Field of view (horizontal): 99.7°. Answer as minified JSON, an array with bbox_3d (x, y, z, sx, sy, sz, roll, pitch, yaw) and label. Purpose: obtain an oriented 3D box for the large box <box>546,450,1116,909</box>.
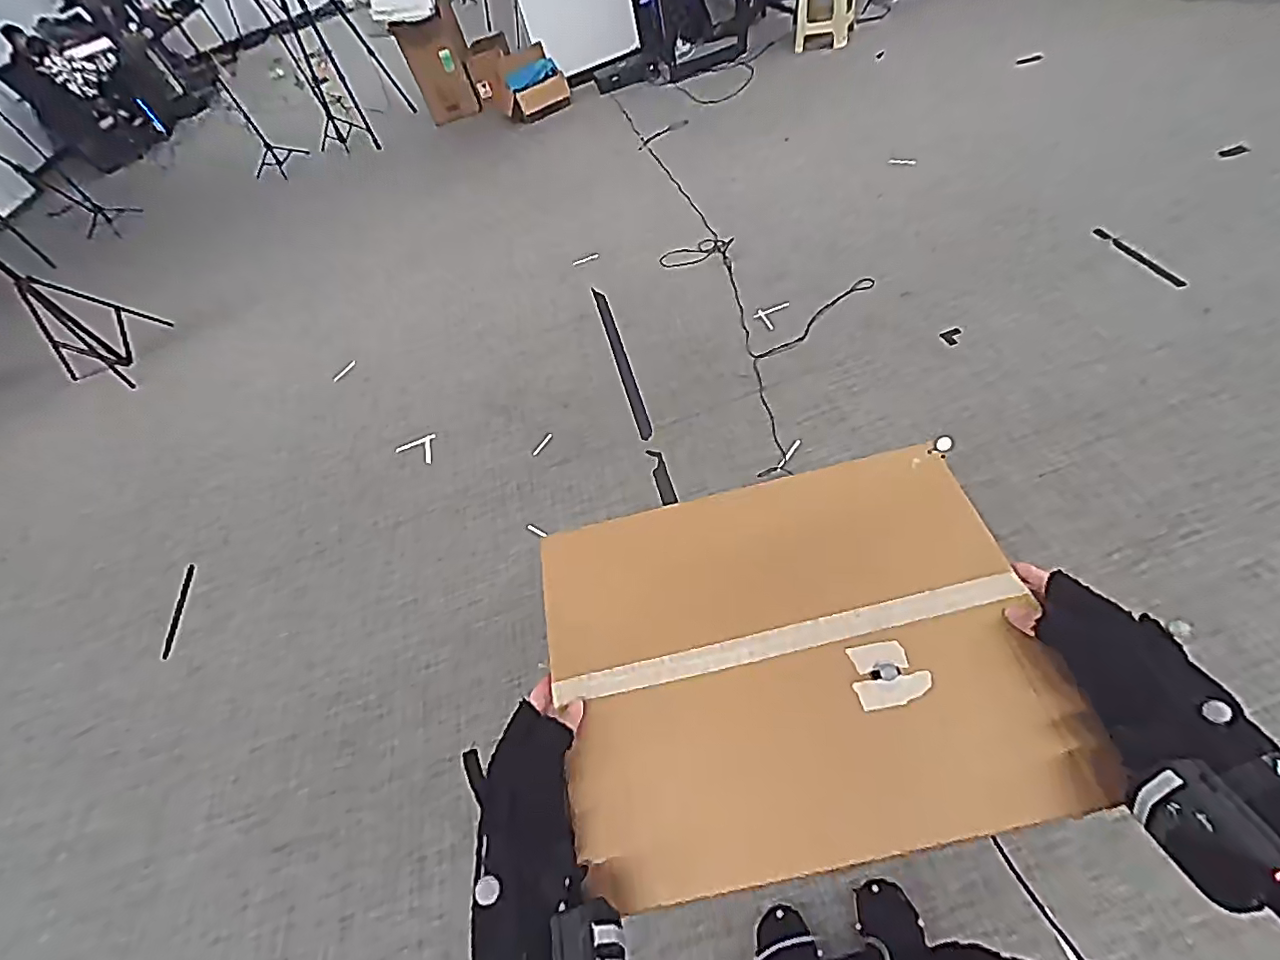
[{"bbox_3d":[0.144,0.221,0.595,0.408,0.320,0.320,-14,56,1],"label":"large box"}]
